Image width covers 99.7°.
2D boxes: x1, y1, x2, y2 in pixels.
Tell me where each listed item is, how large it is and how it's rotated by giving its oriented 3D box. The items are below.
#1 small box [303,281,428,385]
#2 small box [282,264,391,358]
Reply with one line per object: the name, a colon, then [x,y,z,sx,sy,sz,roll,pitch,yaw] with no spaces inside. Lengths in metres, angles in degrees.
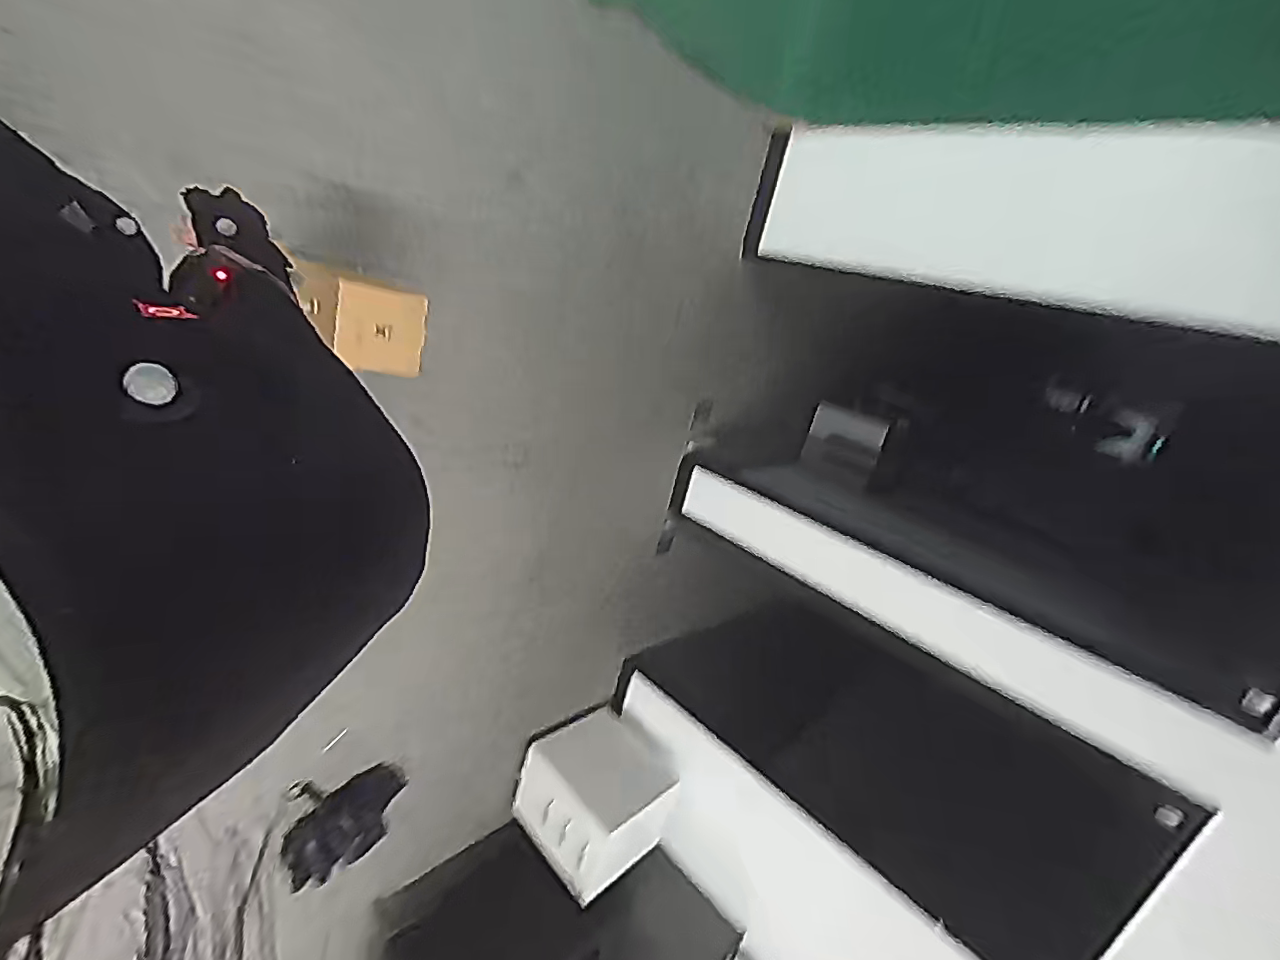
small box: [-0.573,-0.307,1.127,0.179,0.176,0.168,-2,112,-48]
small box: [-0.689,-0.370,1.223,0.168,0.176,0.179,-1,113,-49]
